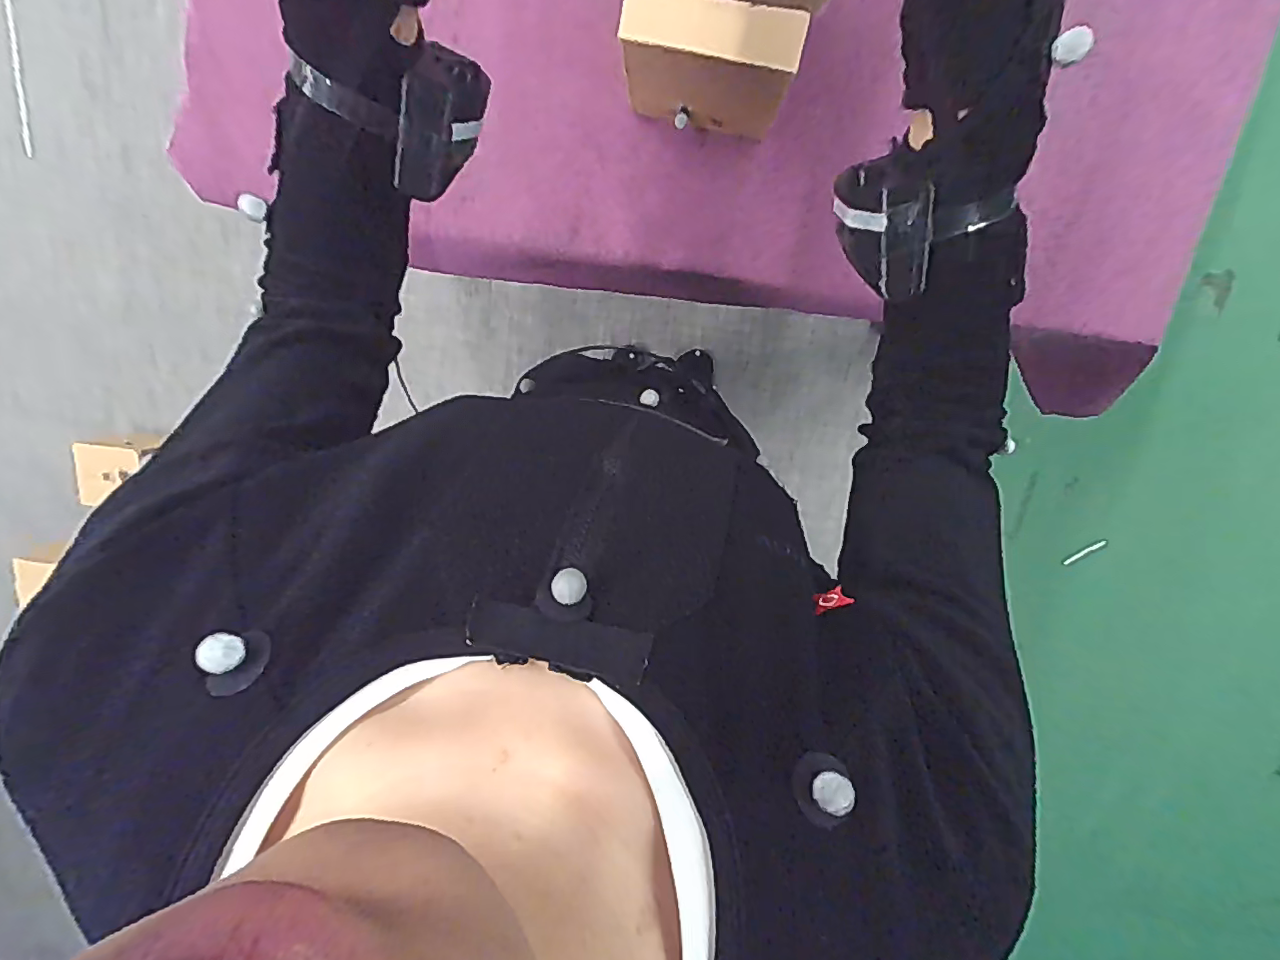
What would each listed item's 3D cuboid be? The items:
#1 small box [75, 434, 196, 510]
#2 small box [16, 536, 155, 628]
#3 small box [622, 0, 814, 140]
[{"bbox_3d":[-1.340,-0.027,1.453,0.179,0.176,0.168,6,103,2],"label":"small box"},{"bbox_3d":[-1.377,0.247,1.352,0.179,0.176,0.168,7,103,2],"label":"small box"},{"bbox_3d":[0.083,-0.482,0.543,0.168,0.176,0.179,13,104,0],"label":"small box"}]
